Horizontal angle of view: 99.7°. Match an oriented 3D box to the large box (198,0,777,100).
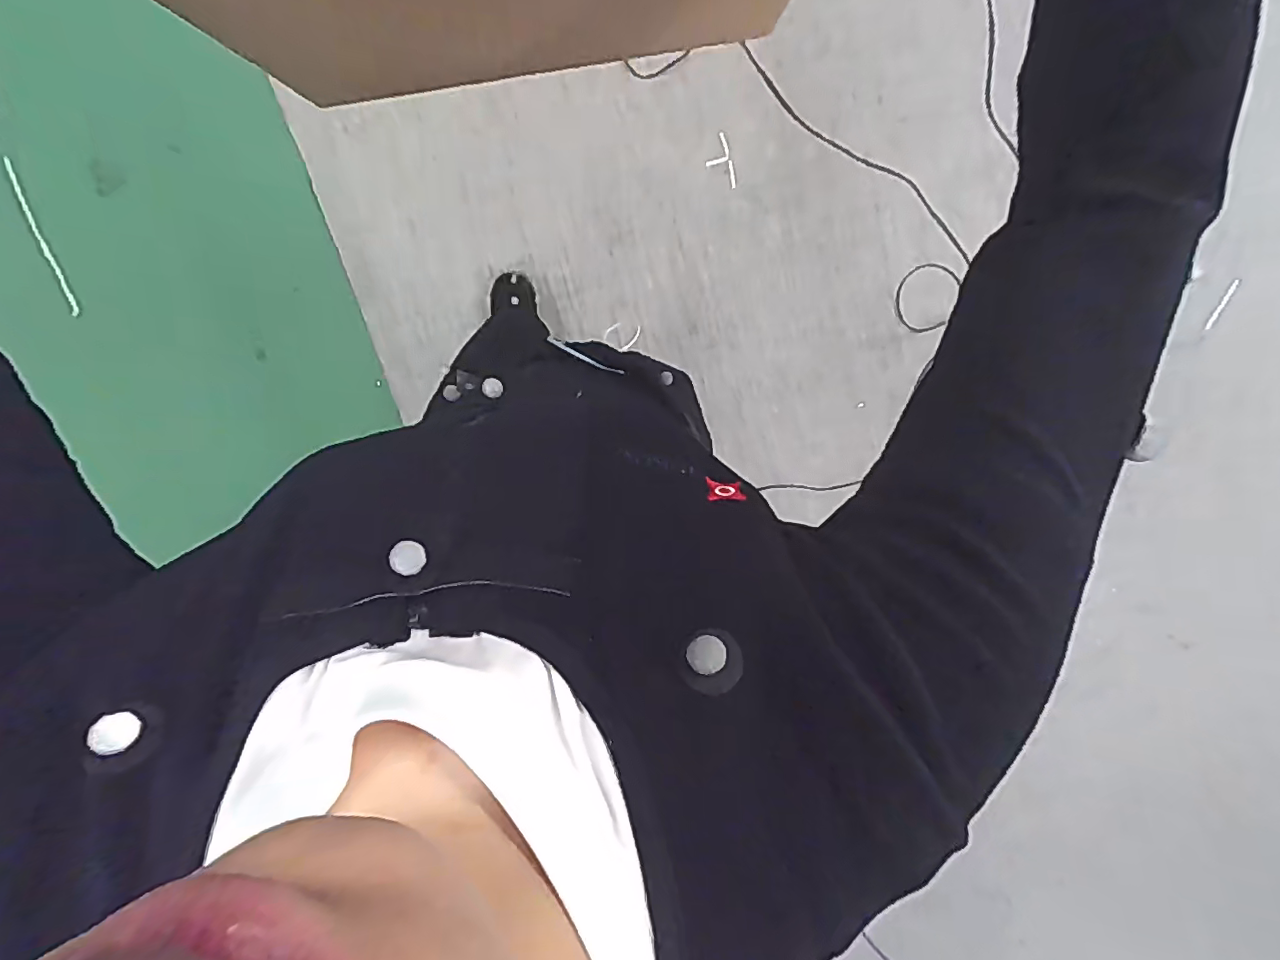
[{"bbox_3d":[-0.098,-0.463,0.290,0.408,0.320,0.320,-9,108,-1],"label":"large box"}]
